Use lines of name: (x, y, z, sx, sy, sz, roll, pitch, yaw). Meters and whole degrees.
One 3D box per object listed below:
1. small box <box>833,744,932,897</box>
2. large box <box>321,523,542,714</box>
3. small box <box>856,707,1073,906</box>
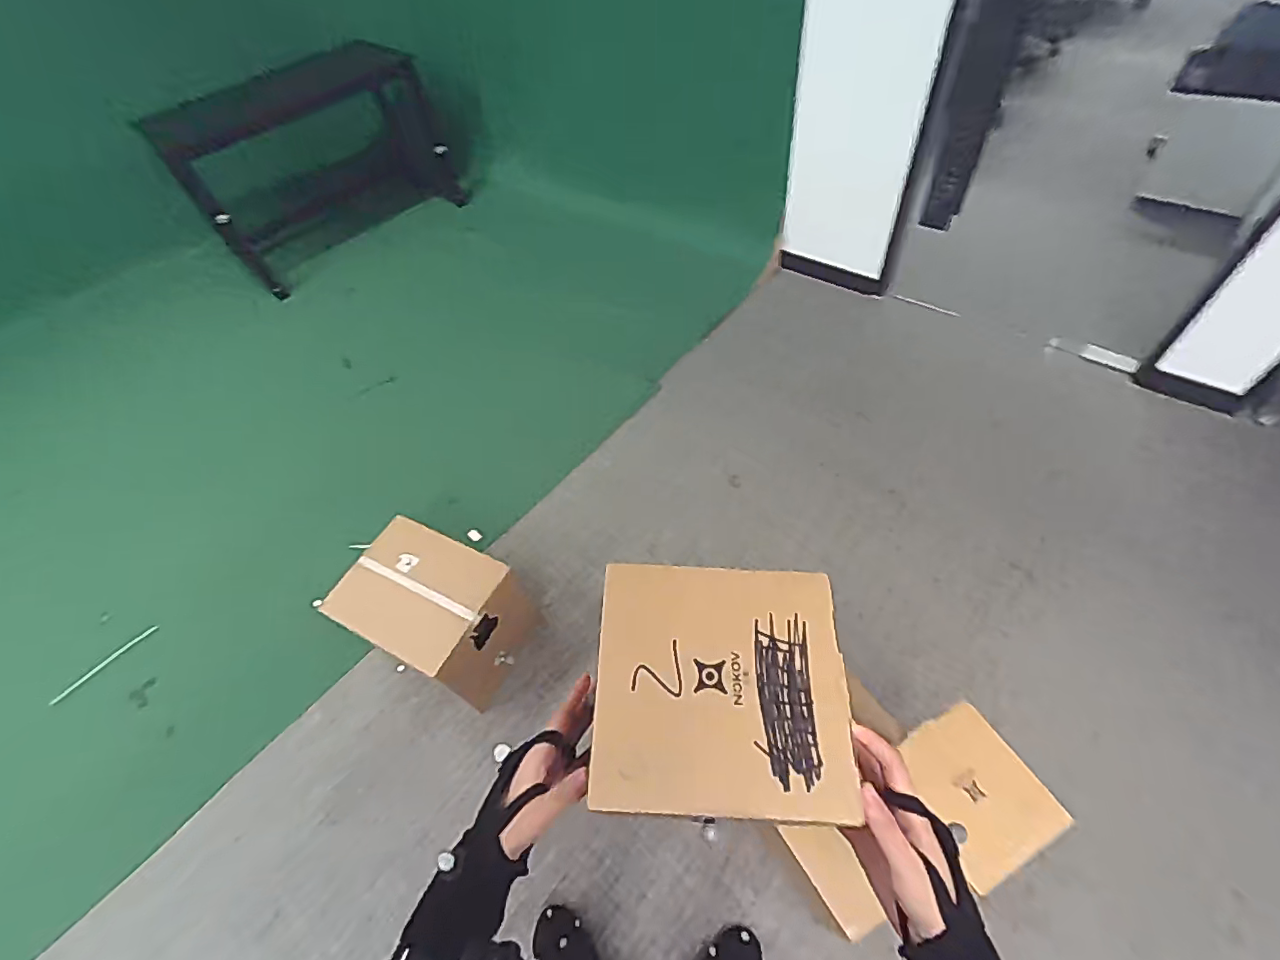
small box: (0.453, 0.556, 0.903, 0.179, 0.176, 0.168, -27, 54, -14)
large box: (-0.544, 0.378, 1.484, 0.408, 0.320, 0.320, 19, 57, 22)
small box: (0.442, 0.462, 0.770, 0.168, 0.176, 0.179, -25, 53, -13)
